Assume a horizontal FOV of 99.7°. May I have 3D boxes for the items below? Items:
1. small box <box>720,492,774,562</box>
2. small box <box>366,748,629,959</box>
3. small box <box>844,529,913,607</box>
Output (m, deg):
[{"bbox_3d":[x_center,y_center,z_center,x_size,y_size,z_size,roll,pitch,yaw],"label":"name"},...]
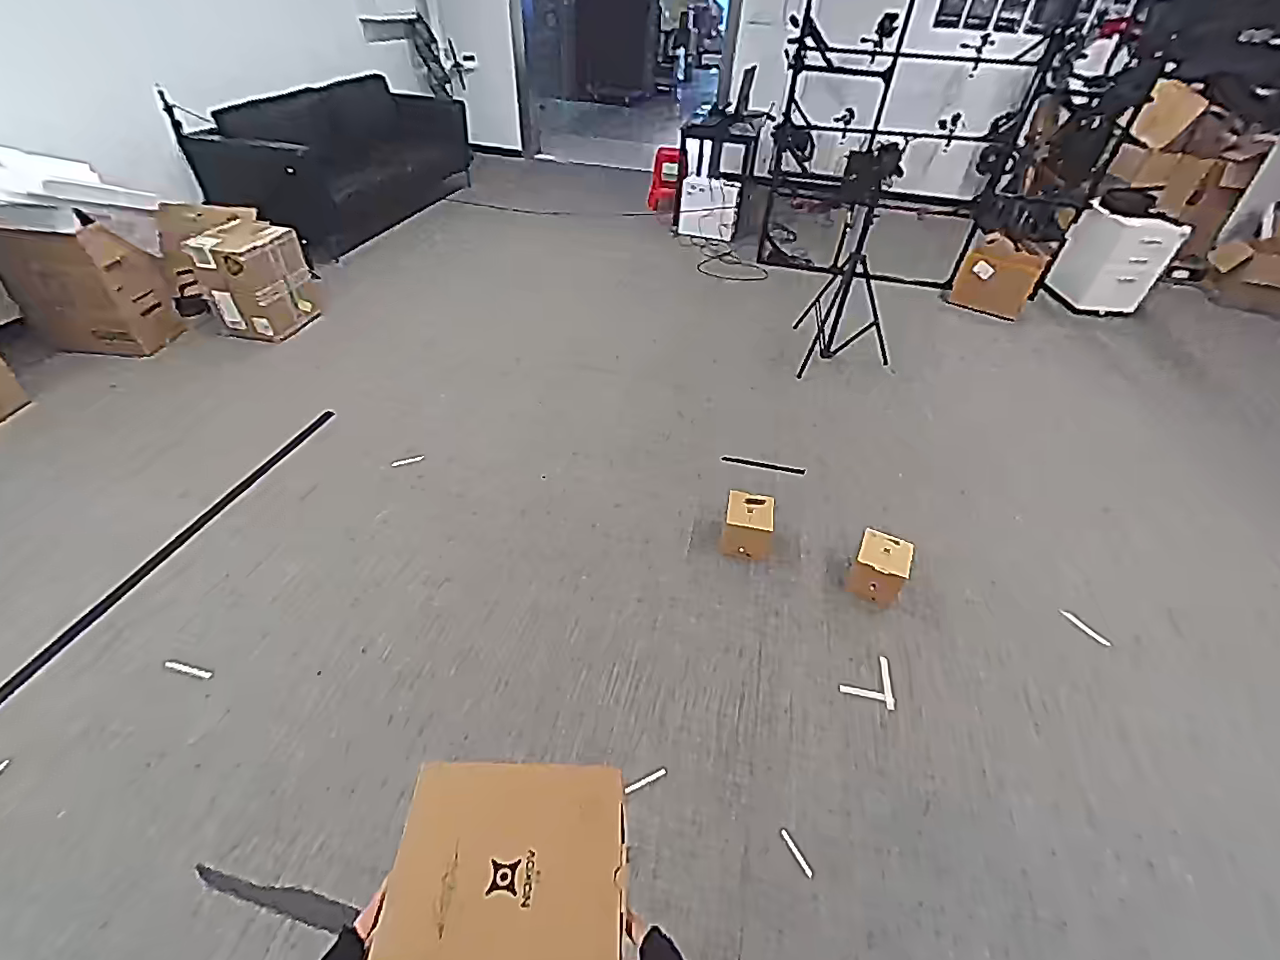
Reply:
[{"bbox_3d":[0.394,0.175,1.998,0.168,0.176,0.179,10,43,7],"label":"small box"},{"bbox_3d":[-0.103,0.347,0.454,0.179,0.176,0.168,2,38,-4],"label":"small box"},{"bbox_3d":[0.827,0.310,1.881,0.168,0.176,0.179,21,46,18],"label":"small box"}]
